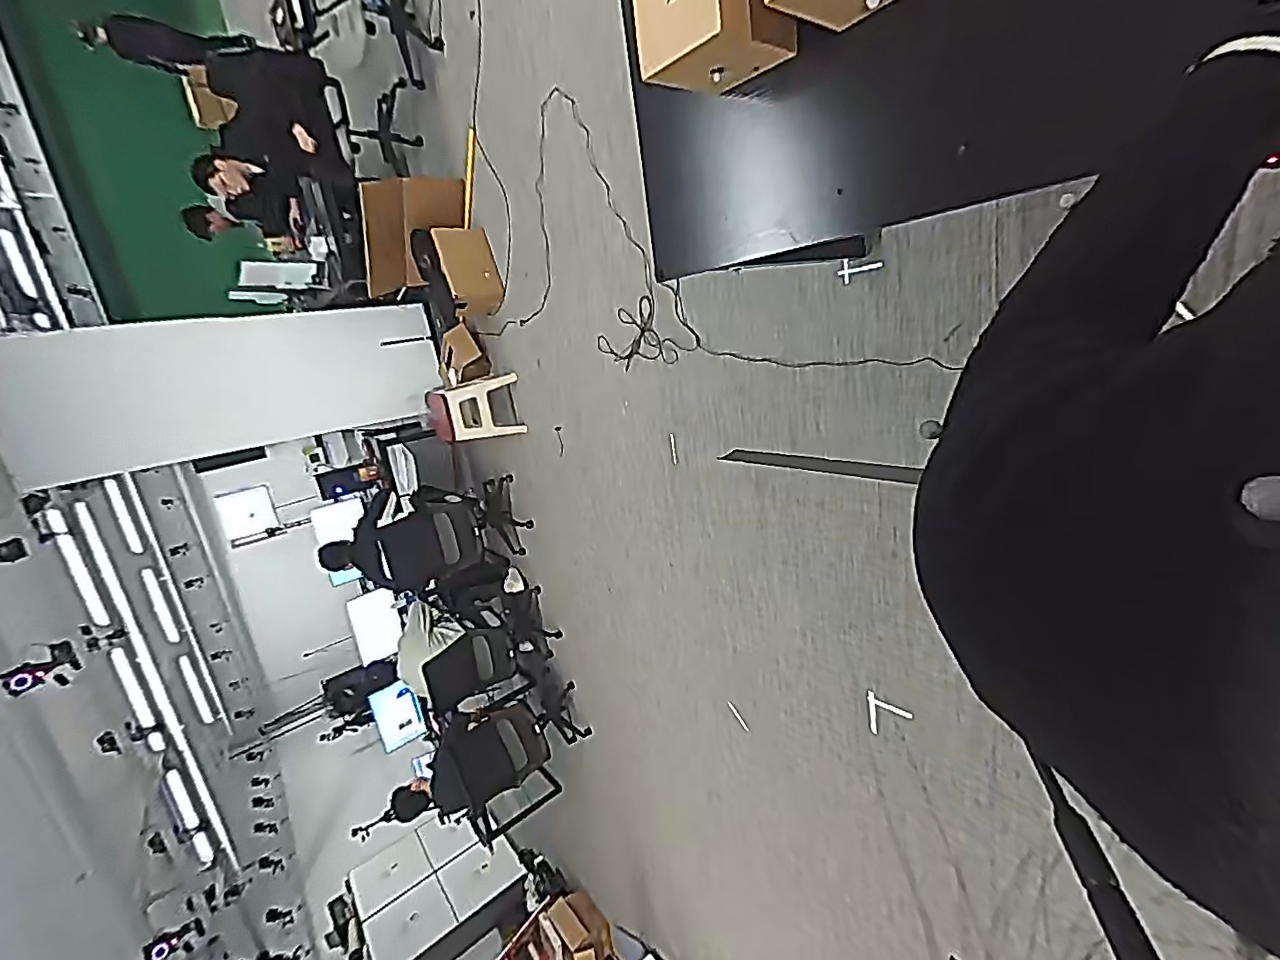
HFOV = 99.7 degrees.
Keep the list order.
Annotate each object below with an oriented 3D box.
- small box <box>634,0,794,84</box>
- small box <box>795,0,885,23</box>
[{"bbox_3d":[0.107,-0.701,0.779,0.168,0.176,0.179,15,117,49],"label":"small box"},{"bbox_3d":[0.246,-0.667,0.606,0.168,0.176,0.179,9,115,51],"label":"small box"}]
